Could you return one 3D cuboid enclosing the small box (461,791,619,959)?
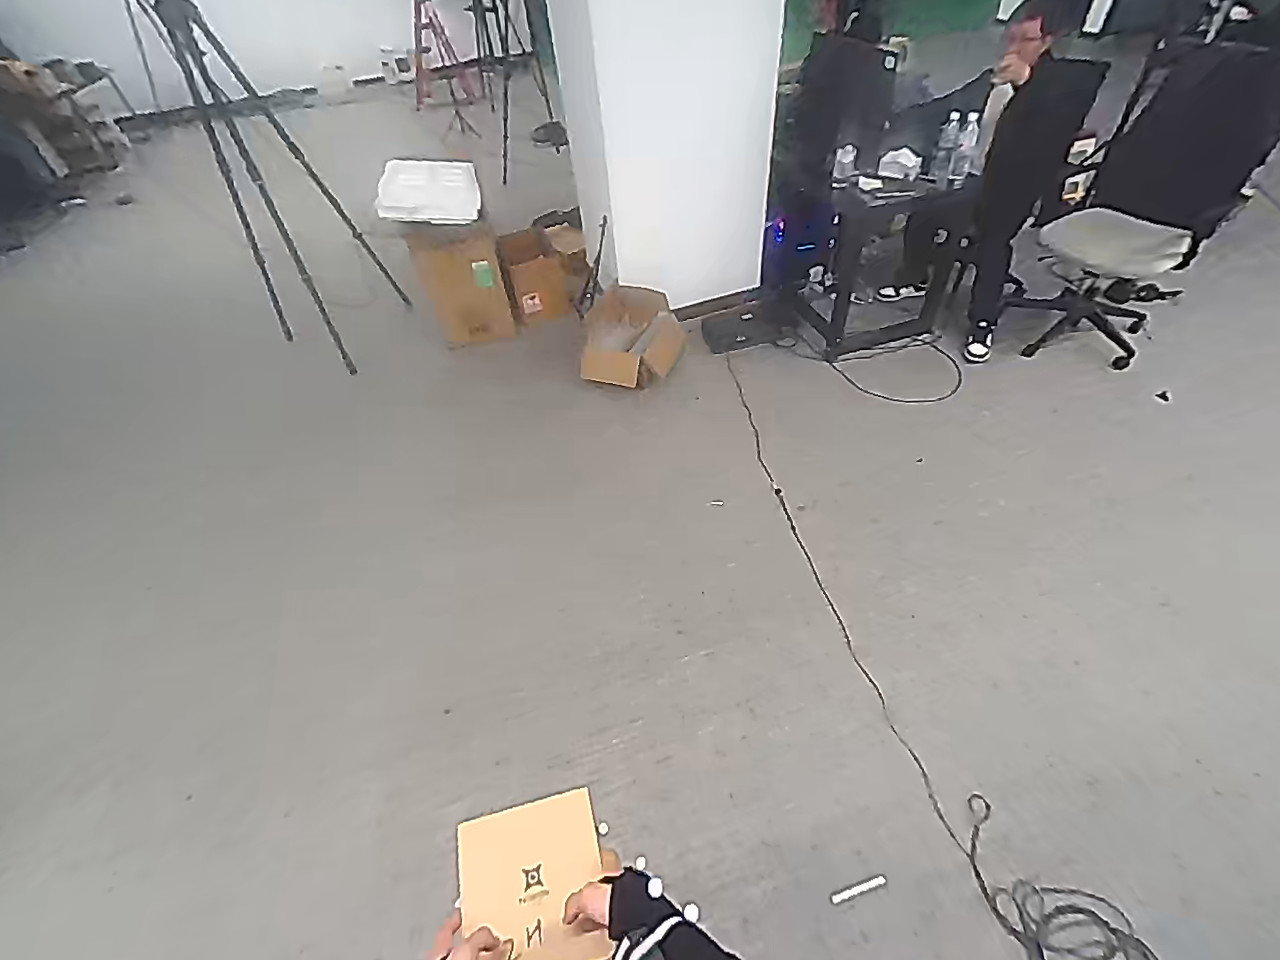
[{"bbox_3d":[-0.126,0.529,0.685,0.168,0.176,0.179,-10,50,-11],"label":"small box"}]
